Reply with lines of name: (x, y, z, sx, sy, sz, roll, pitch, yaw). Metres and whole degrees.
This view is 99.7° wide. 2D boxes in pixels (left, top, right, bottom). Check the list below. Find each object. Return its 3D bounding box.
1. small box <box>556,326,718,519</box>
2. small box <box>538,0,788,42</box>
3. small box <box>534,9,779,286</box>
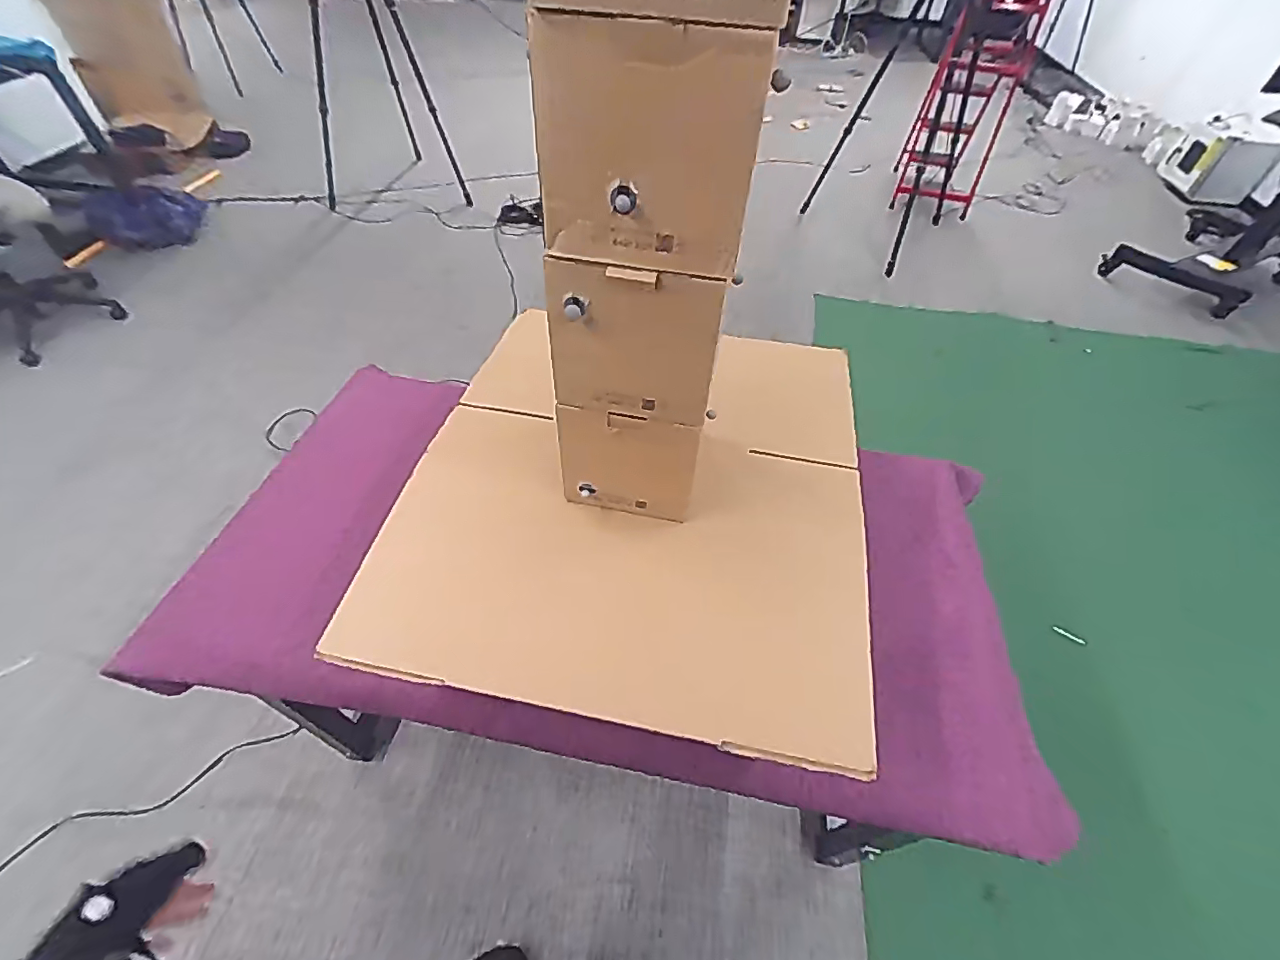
small box: (0.001, -0.073, 0.705, 0.168, 0.176, 0.179, 10, 48, 6)
small box: (0.025, -0.402, 0.341, 0.168, 0.176, 0.179, 8, 48, 4)
small box: (0.018, -0.293, 0.464, 0.168, 0.176, 0.179, 9, 48, 5)
